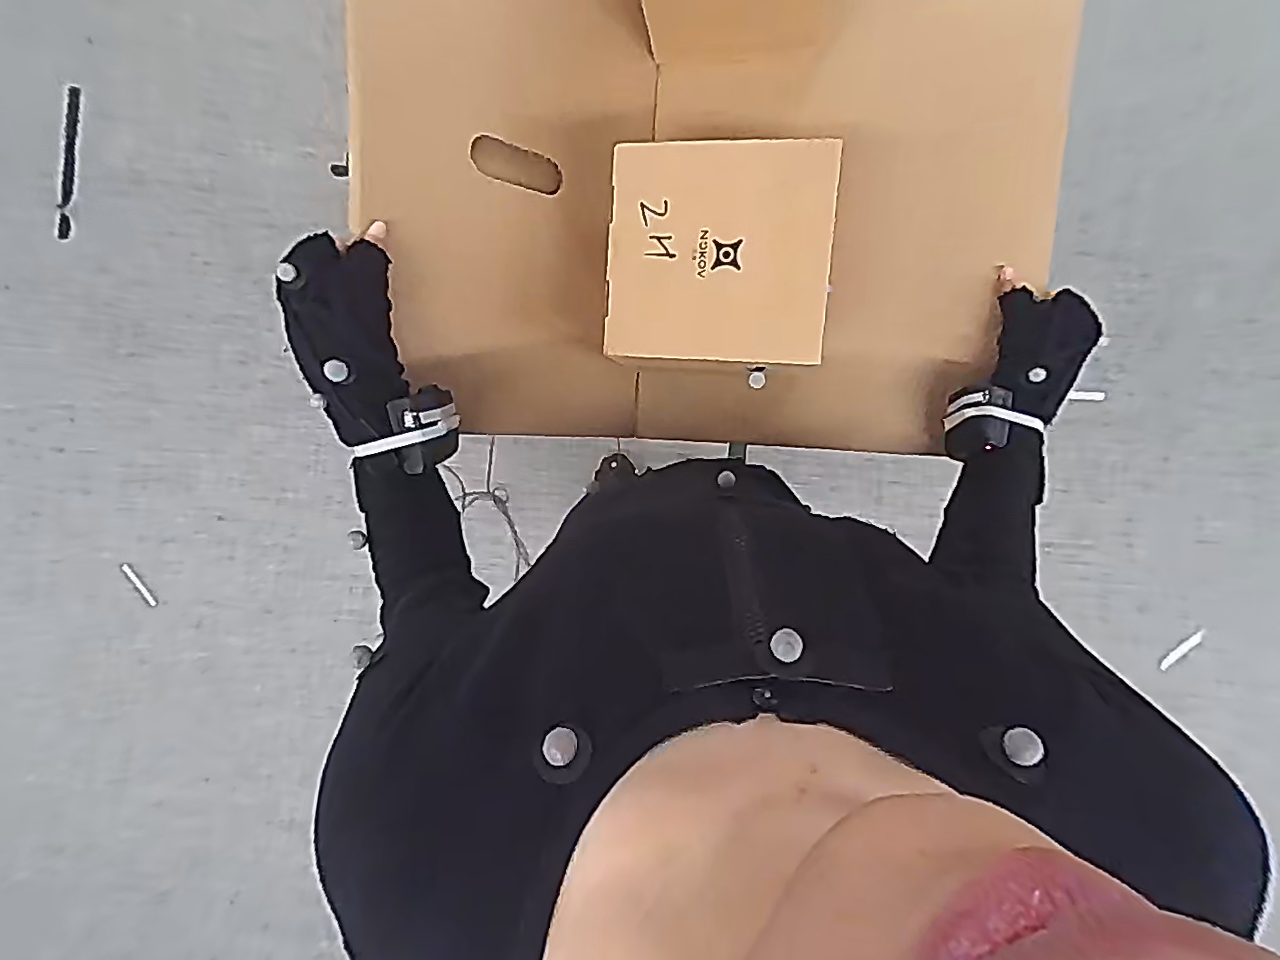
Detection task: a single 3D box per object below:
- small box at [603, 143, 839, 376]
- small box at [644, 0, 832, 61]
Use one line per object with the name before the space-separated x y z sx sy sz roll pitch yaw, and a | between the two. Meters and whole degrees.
small box | 0.074 -0.190 0.510 0.179 0.176 0.168 5 97 10
small box | 0.089 -0.507 0.473 0.179 0.176 0.168 3 97 9
